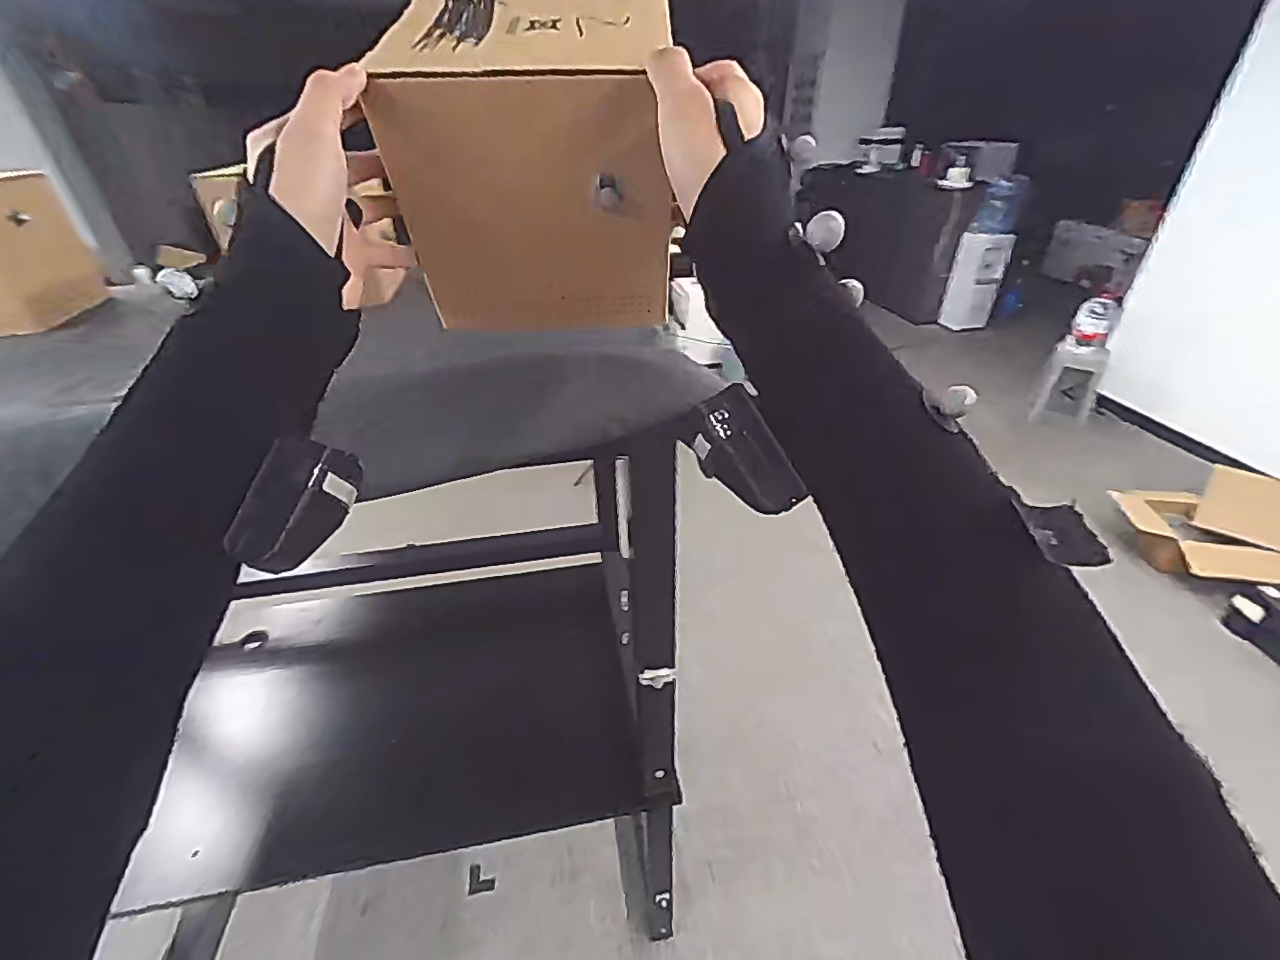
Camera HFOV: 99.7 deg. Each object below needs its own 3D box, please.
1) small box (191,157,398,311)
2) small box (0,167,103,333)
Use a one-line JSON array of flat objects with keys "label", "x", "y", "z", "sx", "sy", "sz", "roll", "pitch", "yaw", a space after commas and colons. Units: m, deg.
[{"label": "small box", "x": -0.455, "y": -0.344, "z": 0.753, "sx": 0.179, "sy": 0.176, "sz": 0.168, "roll": -7, "pitch": 35, "yaw": -9}, {"label": "small box", "x": -0.853, "y": -0.288, "z": 0.684, "sx": 0.168, "sy": 0.176, "sz": 0.179, "roll": -9, "pitch": 35, "yaw": -11}]
